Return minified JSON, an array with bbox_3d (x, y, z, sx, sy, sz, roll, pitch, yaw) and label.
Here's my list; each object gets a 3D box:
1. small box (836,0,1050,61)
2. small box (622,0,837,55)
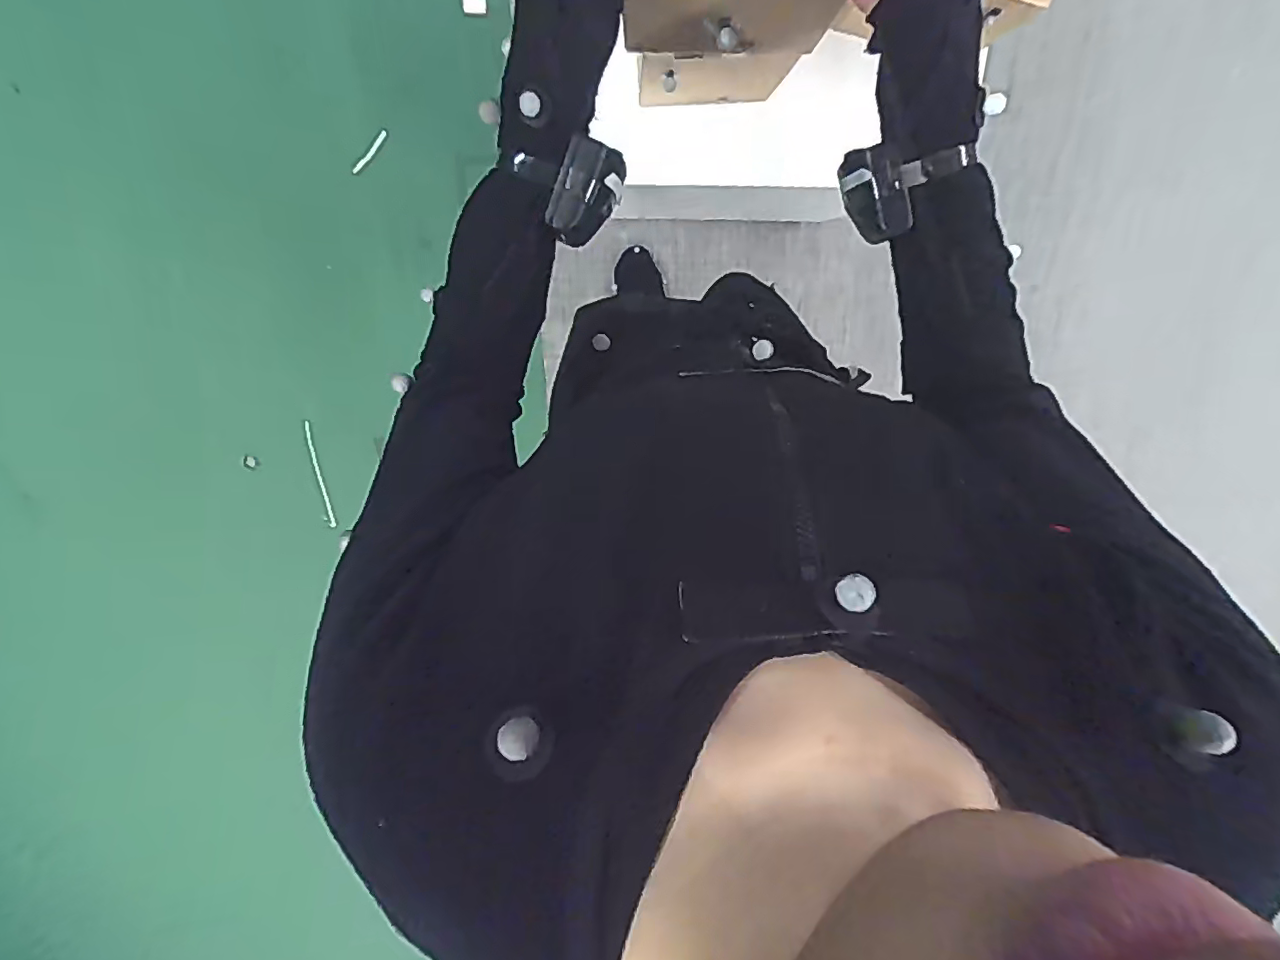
[{"bbox_3d":[0.332,-0.580,0.568,0.179,0.176,0.168,12,111,-5],"label":"small box"},{"bbox_3d":[0.067,-0.433,0.370,0.168,0.176,0.179,1,109,1],"label":"small box"}]
